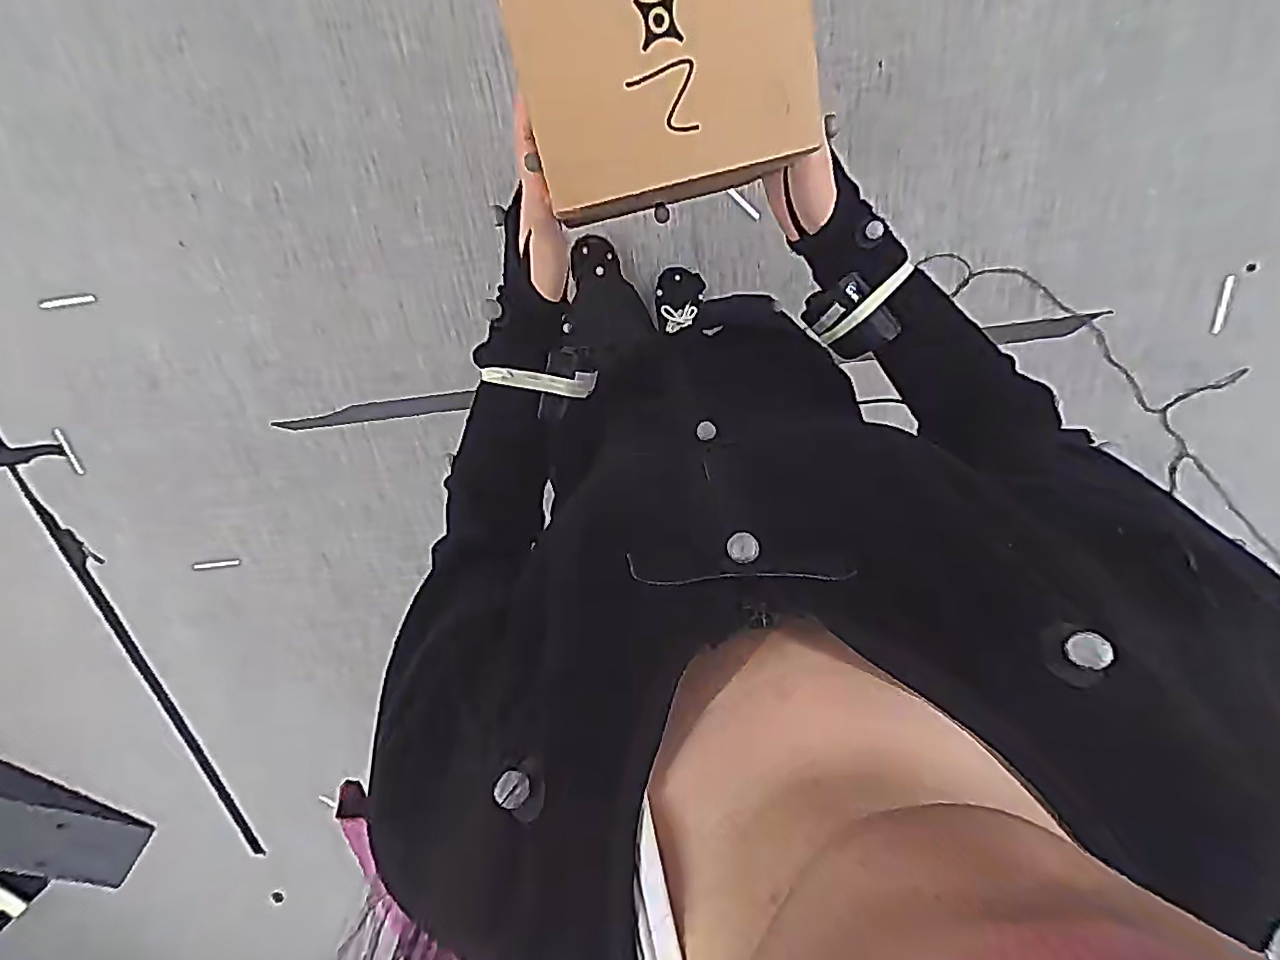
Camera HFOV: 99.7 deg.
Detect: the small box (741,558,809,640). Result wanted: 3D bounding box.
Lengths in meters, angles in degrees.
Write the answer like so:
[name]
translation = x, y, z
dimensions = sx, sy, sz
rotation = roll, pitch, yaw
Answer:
[small box]
translation = 0.396, 0.343, 1.597
dimensions = 0.168, 0.176, 0.179
rotation = -6, 113, 4
